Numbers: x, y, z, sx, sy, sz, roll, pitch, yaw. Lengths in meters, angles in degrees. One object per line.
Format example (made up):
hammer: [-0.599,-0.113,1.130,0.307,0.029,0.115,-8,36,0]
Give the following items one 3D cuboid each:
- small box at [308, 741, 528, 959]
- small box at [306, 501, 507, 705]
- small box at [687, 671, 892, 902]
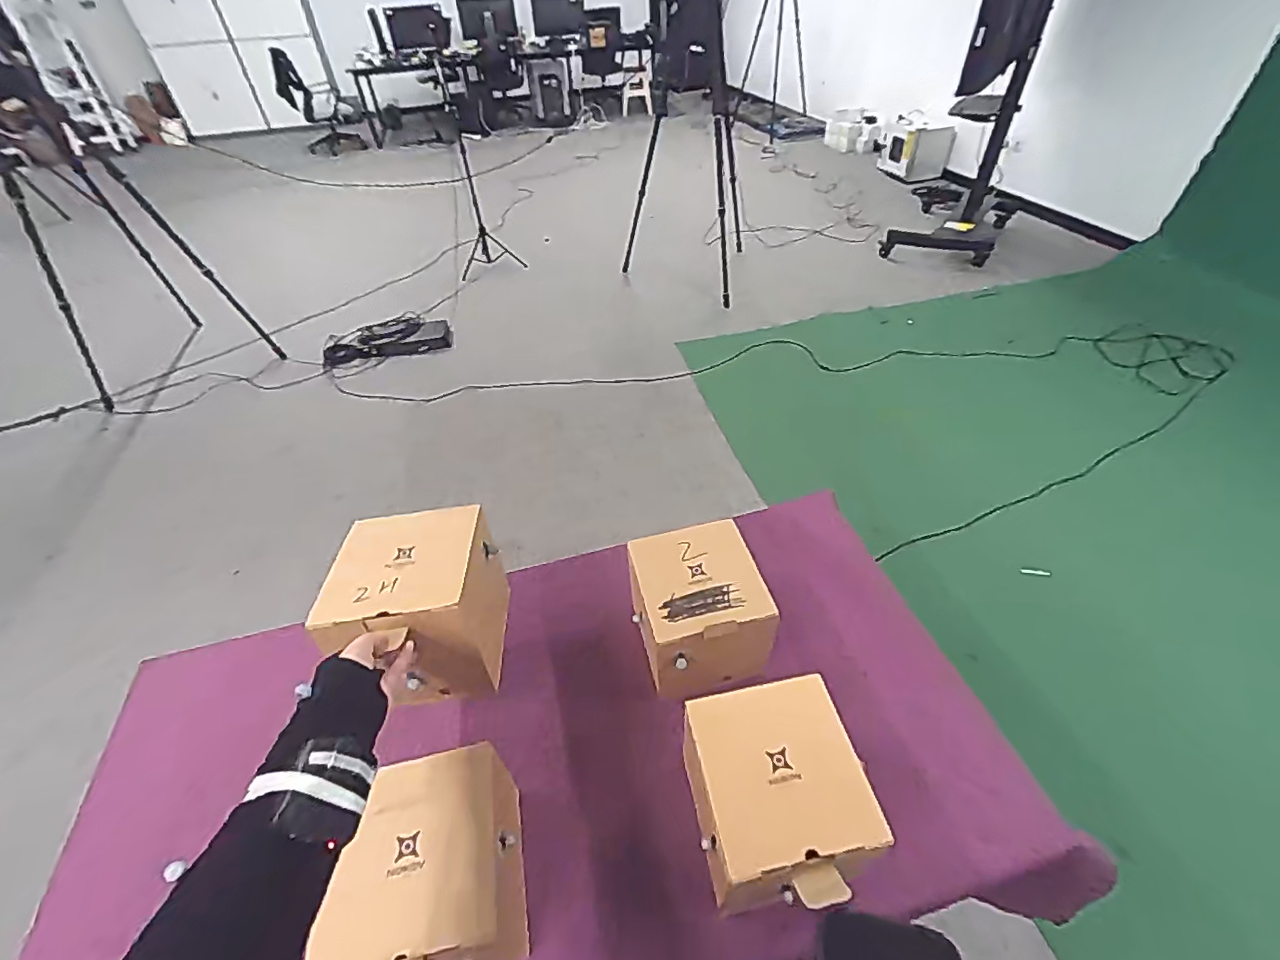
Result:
small box: [-0.221,0.419,0.586,0.168,0.176,0.179,-10,44,-7]
small box: [-0.273,0.153,0.684,0.168,0.176,0.179,-8,38,-1]
small box: [0.152,0.352,0.624,0.168,0.176,0.179,-9,46,-5]
